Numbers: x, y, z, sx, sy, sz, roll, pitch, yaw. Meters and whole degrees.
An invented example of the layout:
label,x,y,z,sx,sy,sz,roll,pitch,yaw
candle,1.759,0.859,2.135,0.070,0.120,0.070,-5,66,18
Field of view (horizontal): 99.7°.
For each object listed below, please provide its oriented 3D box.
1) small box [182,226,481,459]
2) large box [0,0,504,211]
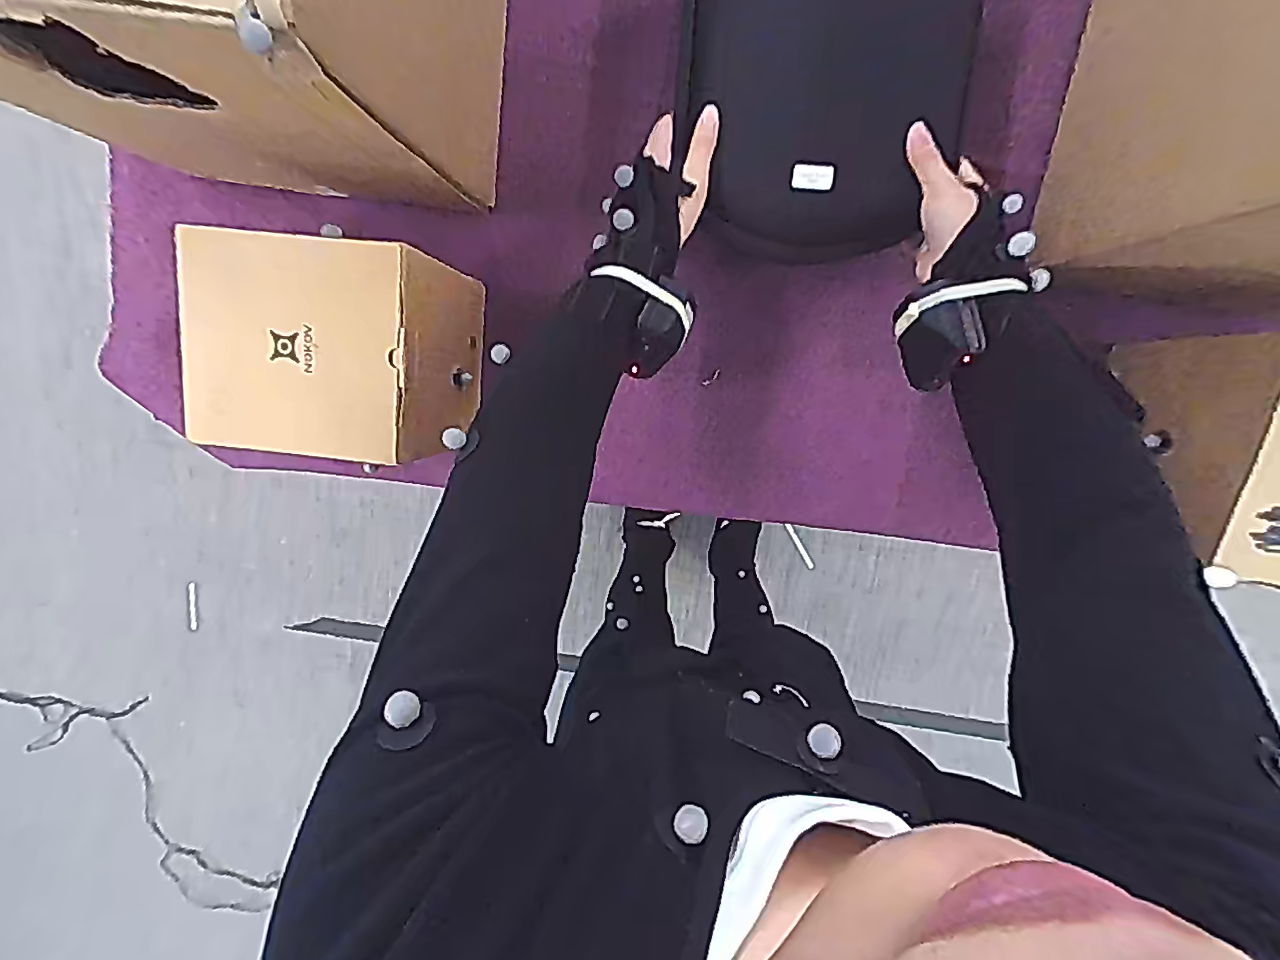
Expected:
label,x,y,z,sx,sy,sz,roll,pitch,yaw
small box,-0.265,-0.117,0.498,0.179,0.176,0.168,6,100,3
large box,-0.280,-0.447,0.363,0.320,0.320,0.408,7,104,2
